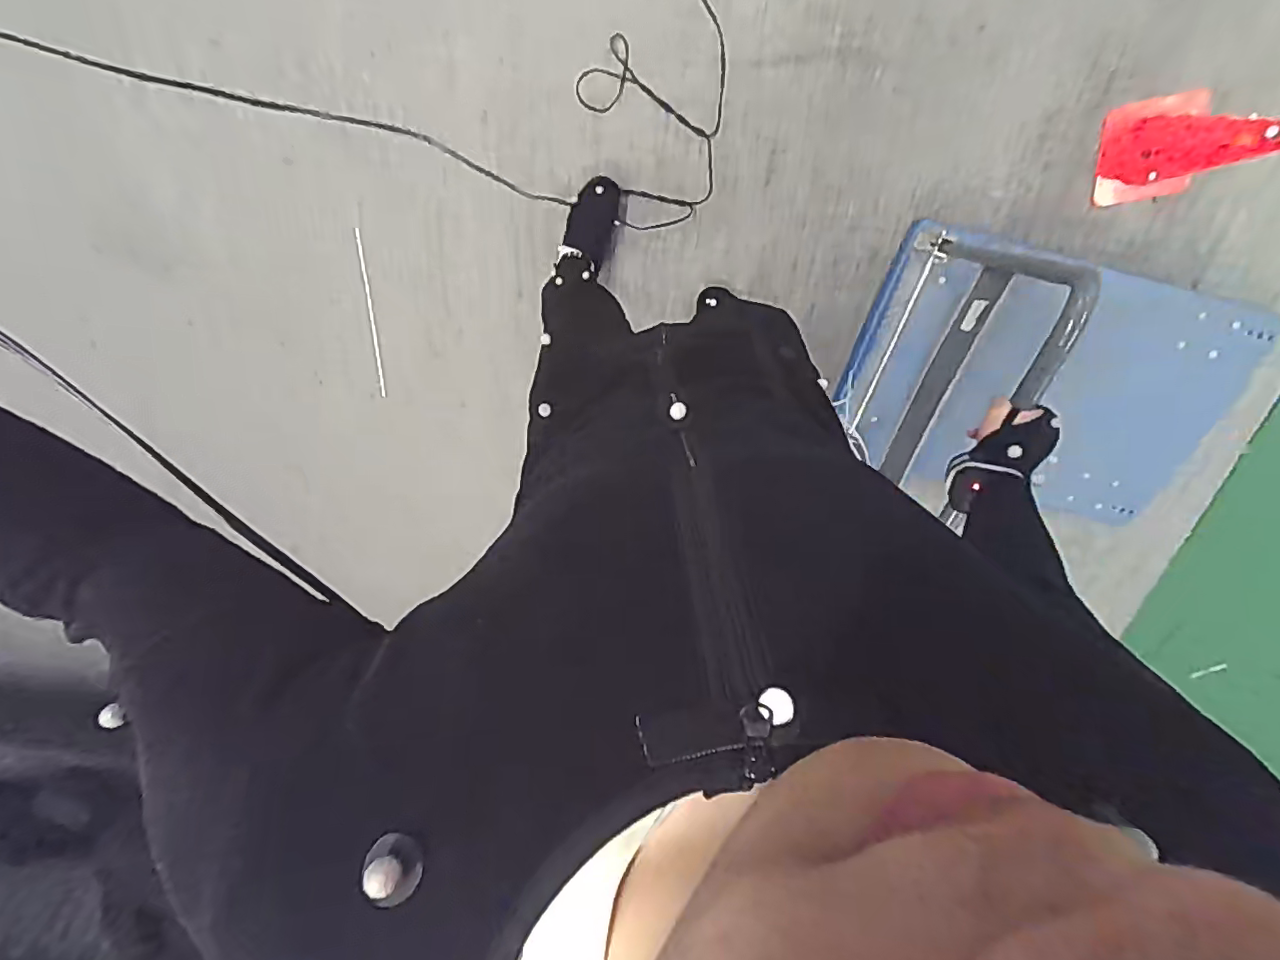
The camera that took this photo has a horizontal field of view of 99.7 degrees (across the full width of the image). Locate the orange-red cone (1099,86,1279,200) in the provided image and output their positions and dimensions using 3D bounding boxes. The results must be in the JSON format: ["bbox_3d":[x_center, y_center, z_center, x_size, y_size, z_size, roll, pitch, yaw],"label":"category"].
[{"bbox_3d":[1.132,-0.671,1.057,0.198,0.360,0.199,-6,115,9],"label":"orange-red cone"}]
